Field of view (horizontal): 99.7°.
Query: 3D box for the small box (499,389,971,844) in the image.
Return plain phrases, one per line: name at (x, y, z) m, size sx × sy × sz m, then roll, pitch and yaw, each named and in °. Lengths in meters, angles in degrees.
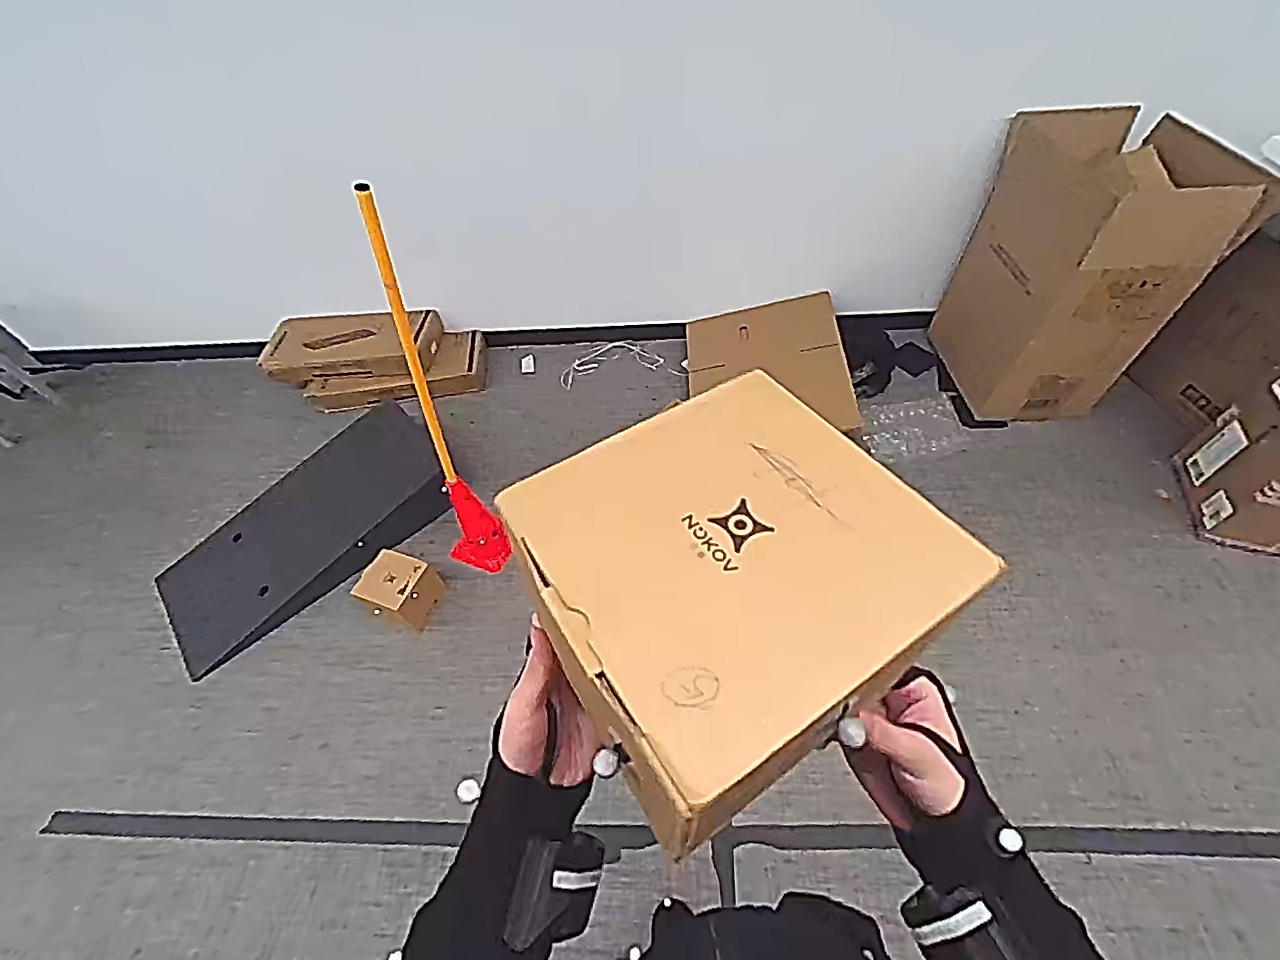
small box at (0.043, 0.082, 0.327) m, size 0.179 × 0.176 × 0.168 m, roll -29°, pitch 56°, yaw -21°
